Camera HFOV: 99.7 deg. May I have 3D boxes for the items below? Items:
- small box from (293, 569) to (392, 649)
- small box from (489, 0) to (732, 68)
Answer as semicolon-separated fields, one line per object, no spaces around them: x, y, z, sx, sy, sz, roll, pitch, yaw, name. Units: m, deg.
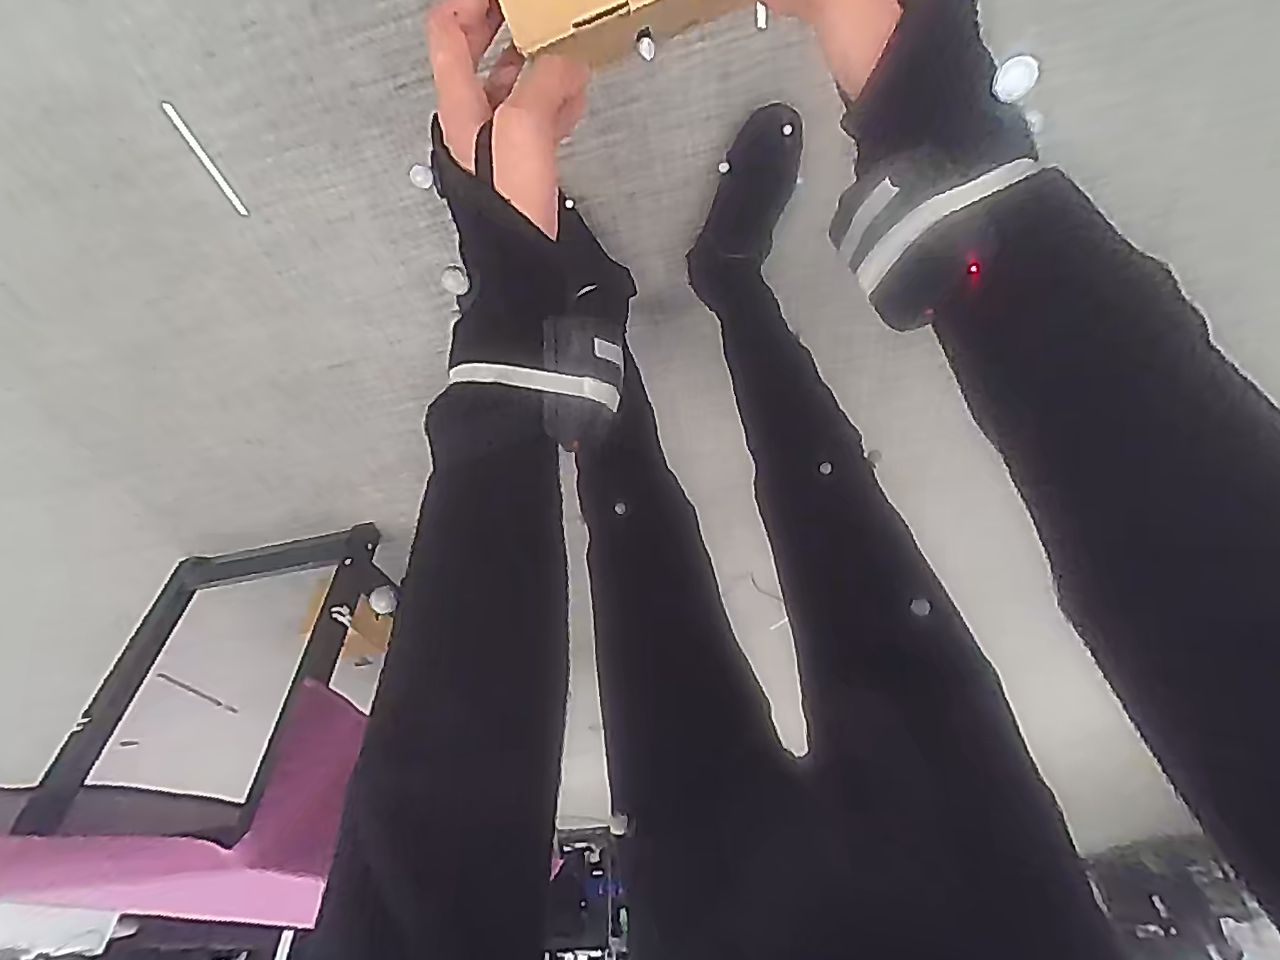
-0.859;0.370;1.578;0.168;0.176;0.179;-9;139;7;small box
-0.018;-0.351;0.282;0.168;0.176;0.179;-16;123;9;small box
